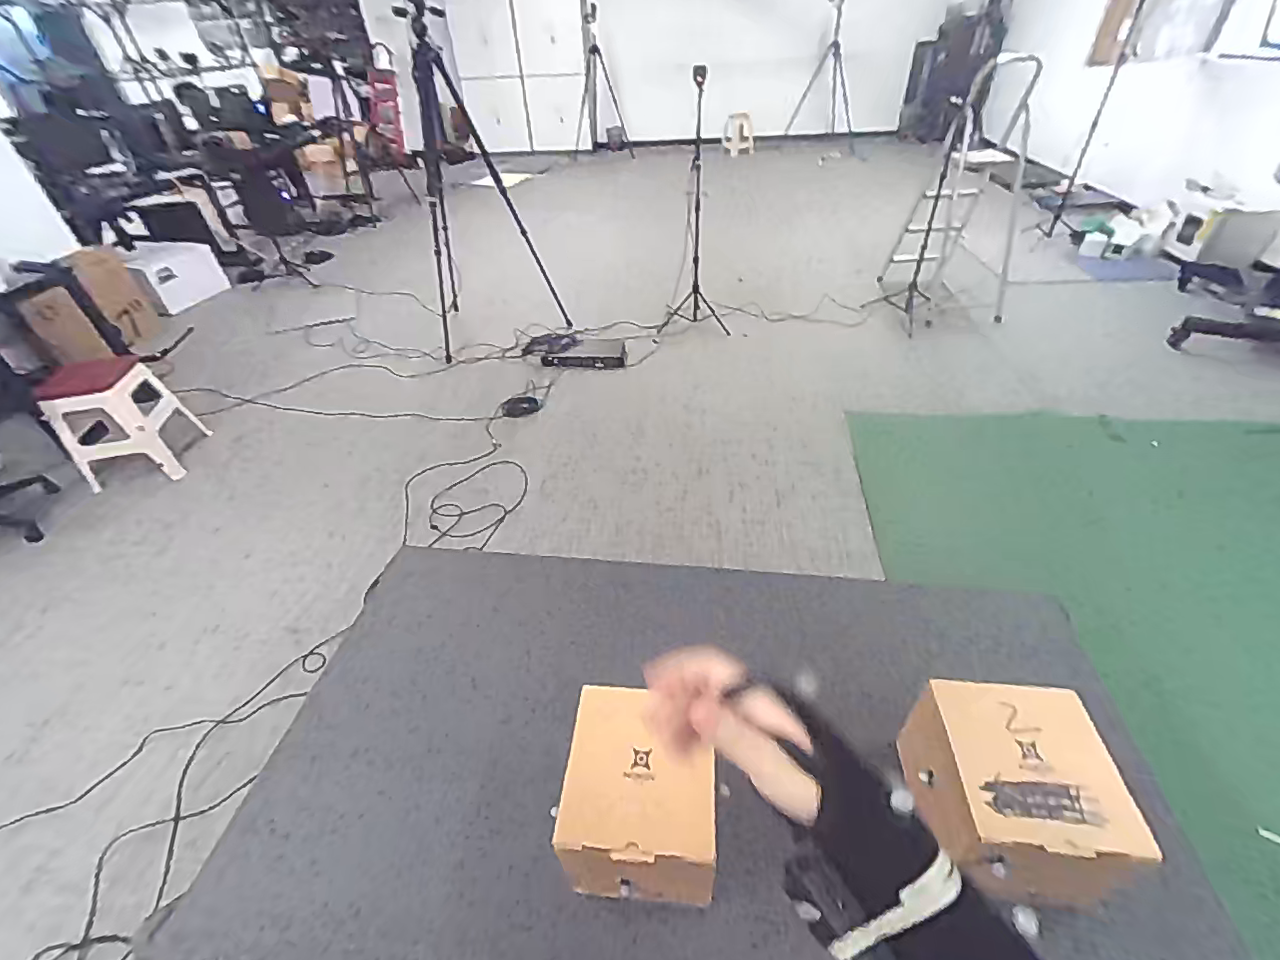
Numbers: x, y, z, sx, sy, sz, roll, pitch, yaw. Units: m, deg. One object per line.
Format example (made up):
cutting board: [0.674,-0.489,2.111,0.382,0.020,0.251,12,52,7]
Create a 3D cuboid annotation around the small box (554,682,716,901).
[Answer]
small box: [0.003,0.372,0.652,0.168,0.176,0.179,2,41,6]
